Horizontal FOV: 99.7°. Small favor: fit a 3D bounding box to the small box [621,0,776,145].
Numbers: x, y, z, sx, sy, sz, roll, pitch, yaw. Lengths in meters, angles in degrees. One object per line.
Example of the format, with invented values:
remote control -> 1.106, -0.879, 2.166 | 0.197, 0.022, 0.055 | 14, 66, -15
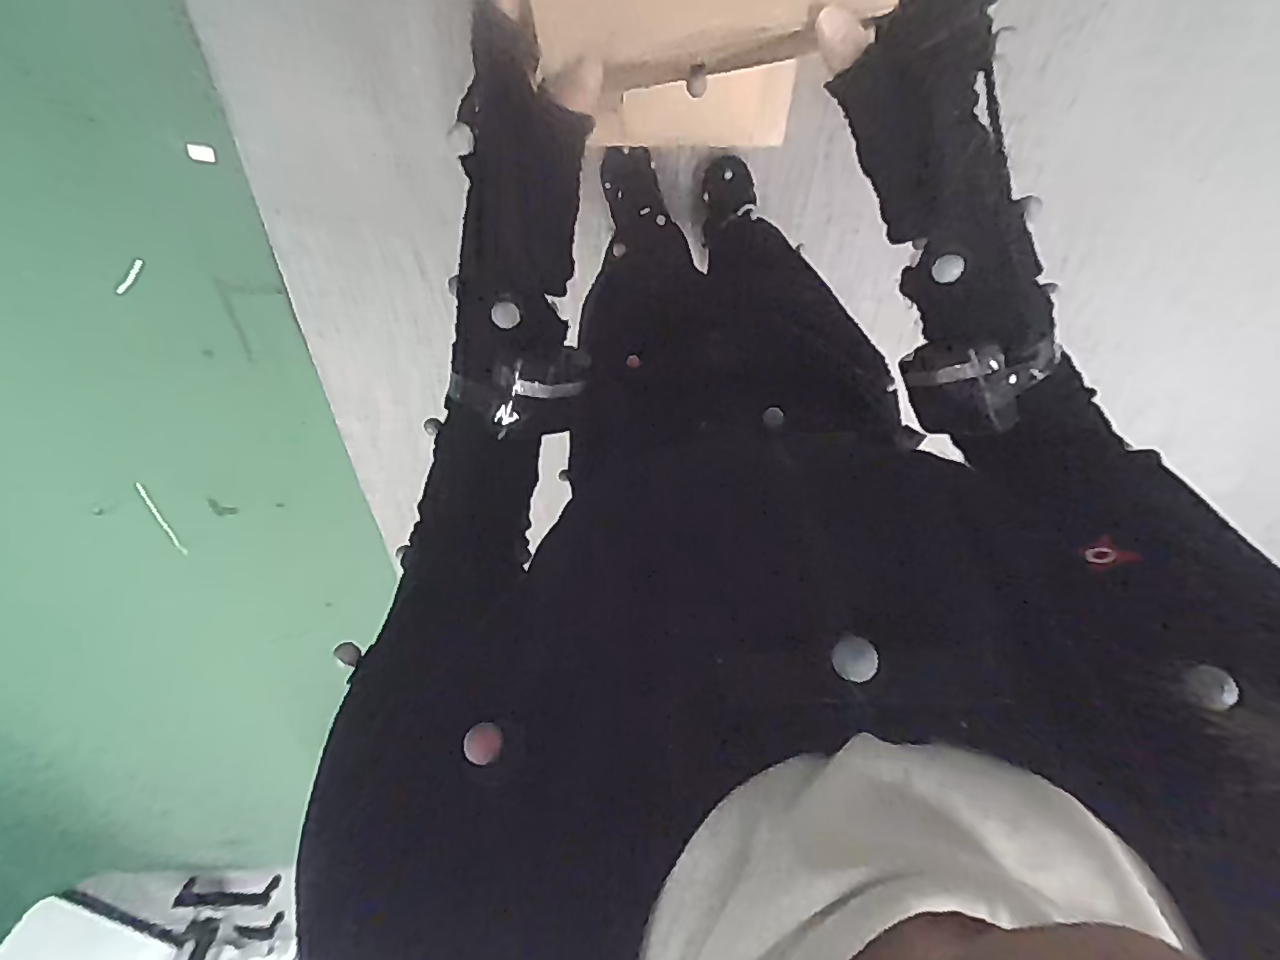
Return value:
small box -> 0.065, -0.556, 0.713 | 0.179, 0.176, 0.168 | 0, 132, -3
